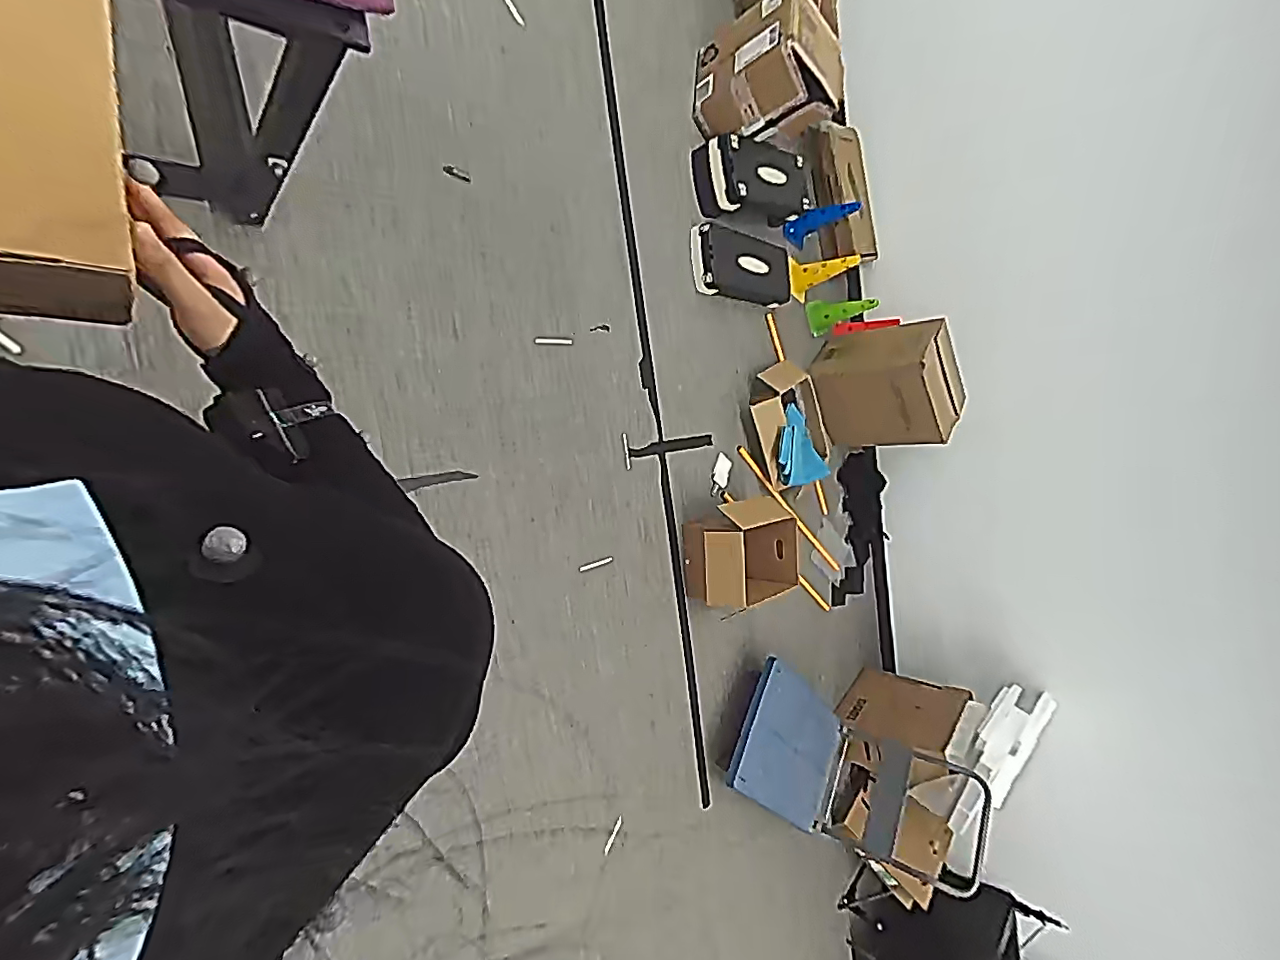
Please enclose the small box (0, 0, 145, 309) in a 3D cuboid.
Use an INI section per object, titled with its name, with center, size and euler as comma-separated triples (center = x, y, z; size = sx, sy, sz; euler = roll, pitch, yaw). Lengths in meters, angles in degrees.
[small box]
center = -0.418, -0.217, 0.323
size = 0.168, 0.176, 0.179
euler = -5, 96, -45
